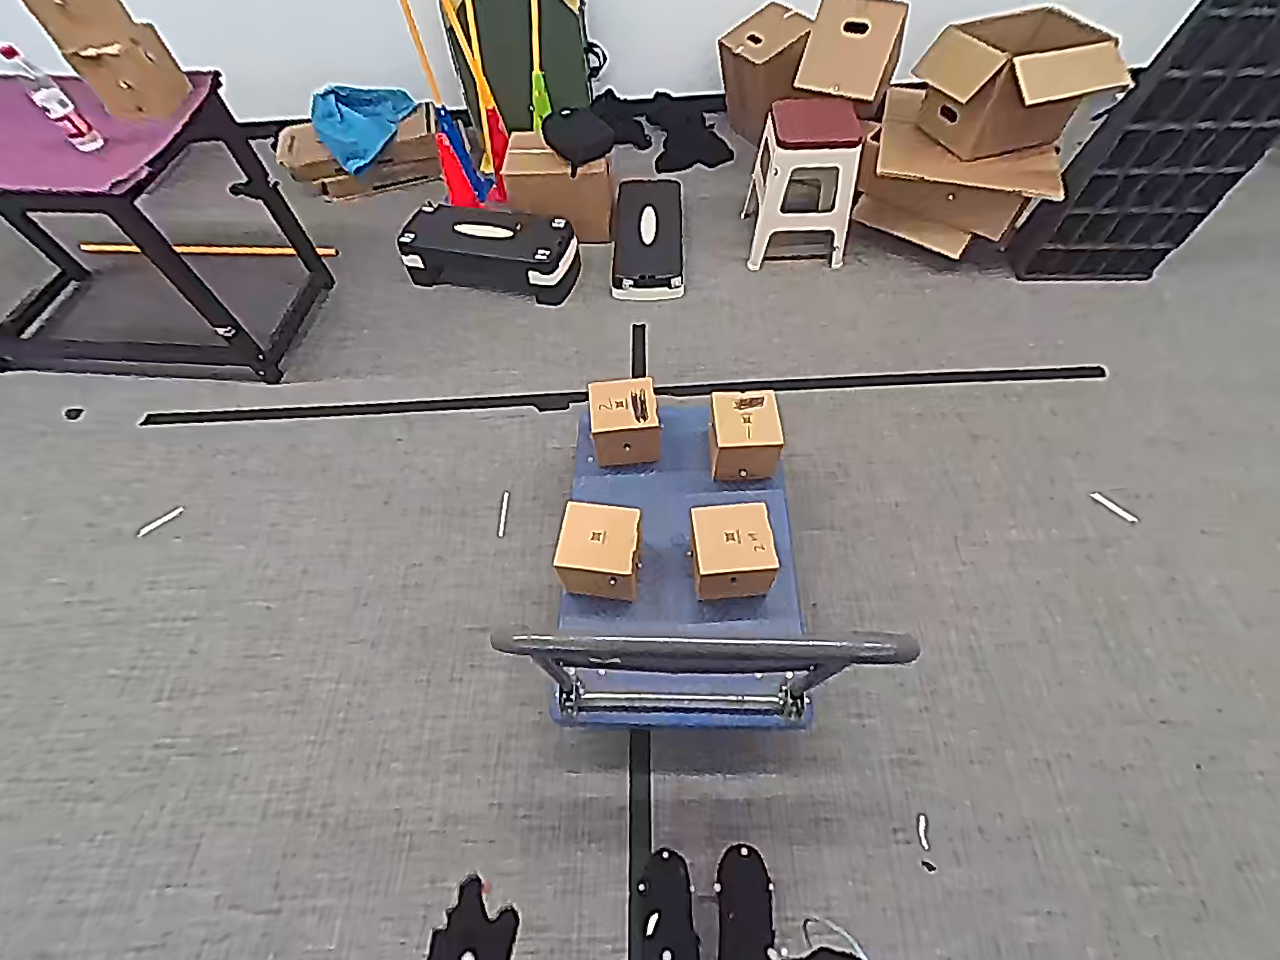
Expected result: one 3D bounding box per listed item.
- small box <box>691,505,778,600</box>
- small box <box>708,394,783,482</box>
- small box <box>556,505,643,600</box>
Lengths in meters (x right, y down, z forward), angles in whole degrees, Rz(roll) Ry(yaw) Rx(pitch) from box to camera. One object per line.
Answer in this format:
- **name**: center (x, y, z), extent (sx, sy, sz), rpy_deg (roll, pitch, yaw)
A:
- **small box**: center (0.214, 0.176, 1.280), extent (0.179, 0.176, 0.168), rpy_deg (-5, 59, 0)
- **small box**: center (0.276, -0.110, 1.452), extent (0.168, 0.176, 0.179), rpy_deg (-2, 60, 1)
- **small box**: center (-0.089, 0.177, 1.294), extent (0.179, 0.176, 0.168), rpy_deg (6, 59, 5)
